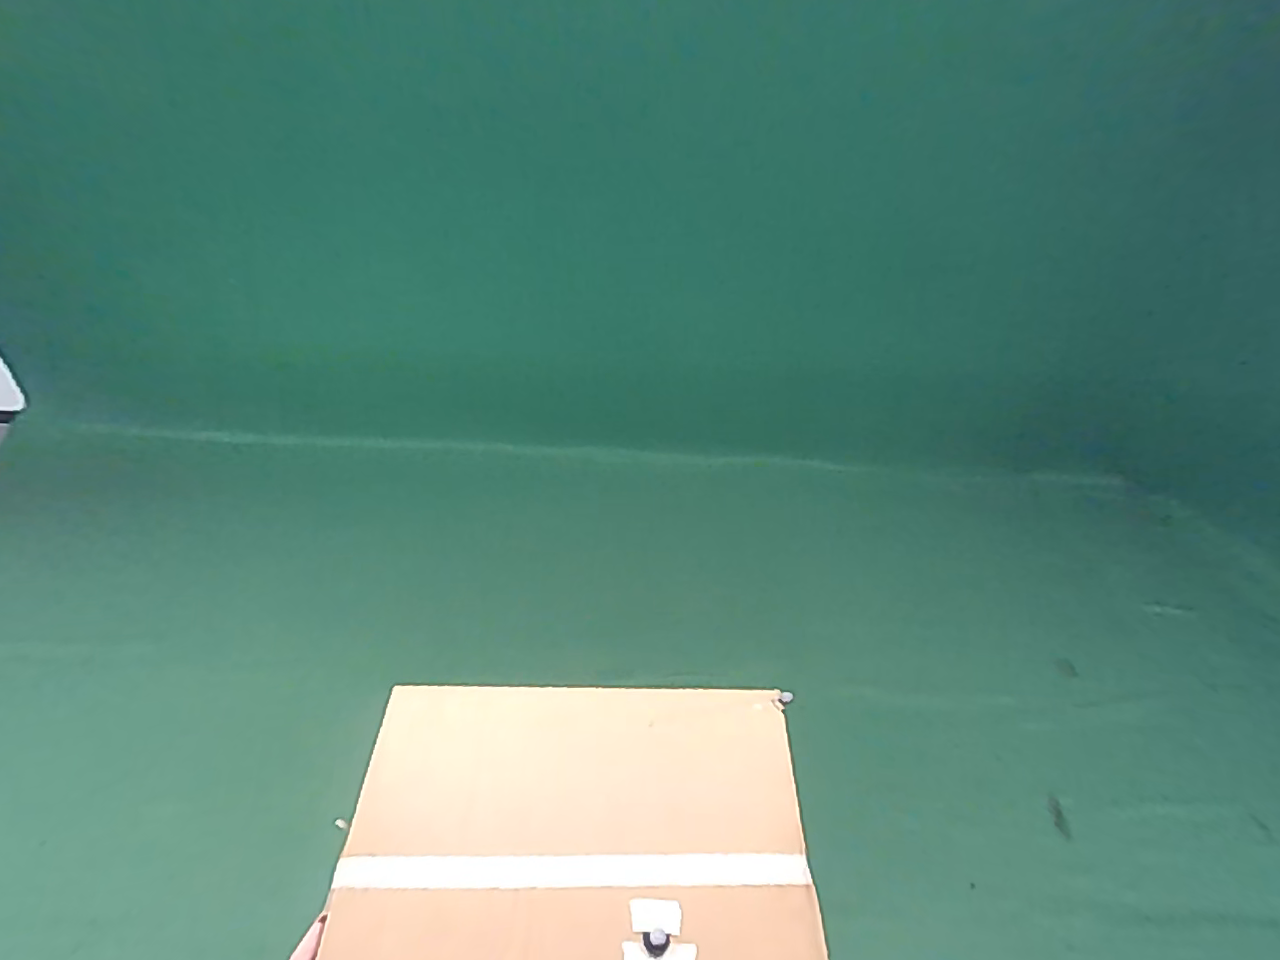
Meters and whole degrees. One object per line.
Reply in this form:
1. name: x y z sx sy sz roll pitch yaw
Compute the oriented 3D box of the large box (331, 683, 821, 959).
1. large box: -0.059 0.432 0.594 0.408 0.320 0.320 1 51 -3
